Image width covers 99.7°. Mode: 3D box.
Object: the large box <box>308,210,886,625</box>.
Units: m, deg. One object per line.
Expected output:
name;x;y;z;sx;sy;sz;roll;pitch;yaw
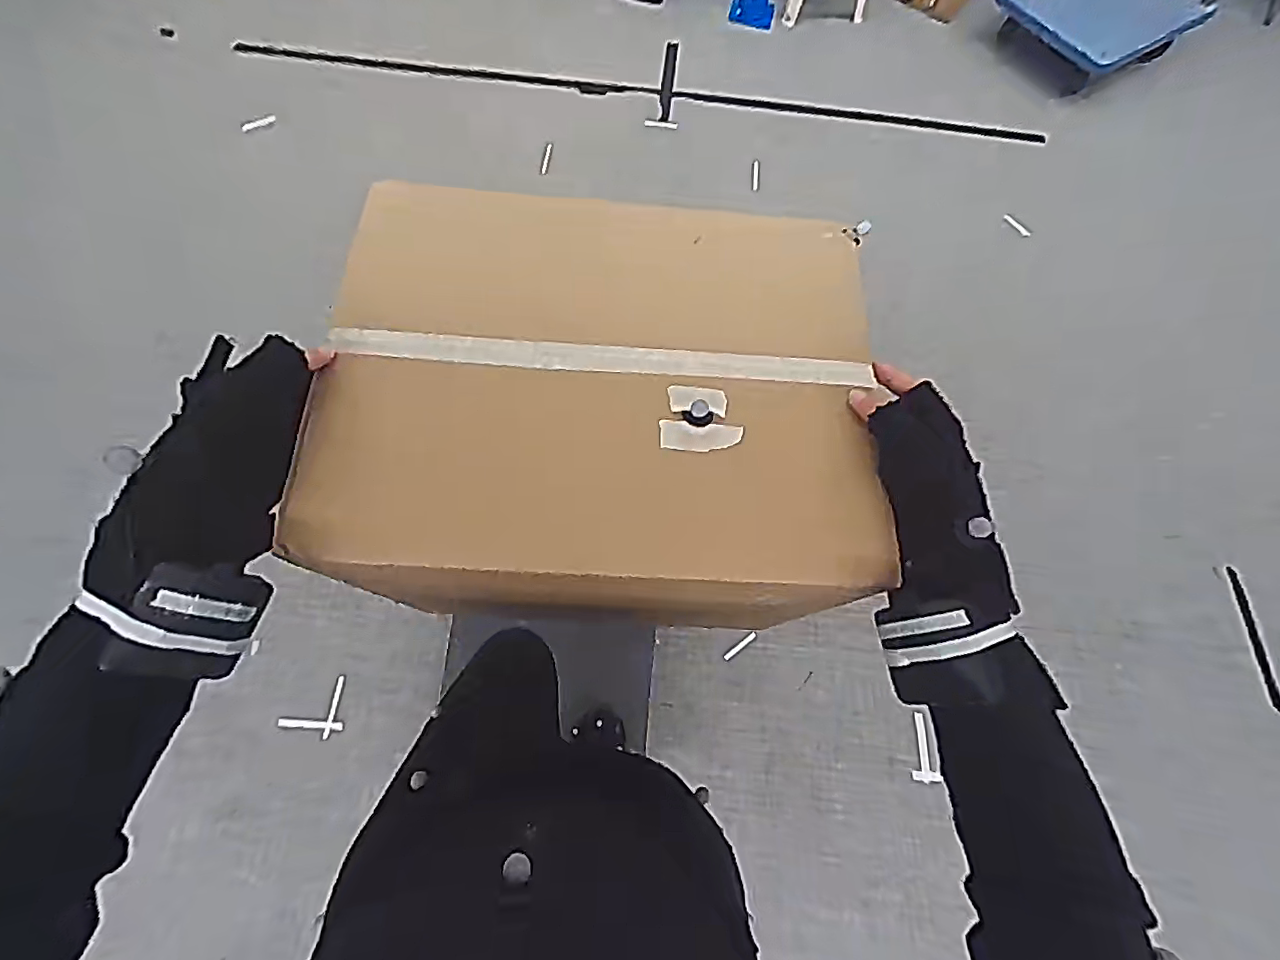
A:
large box;-0.032;-0.028;0.558;0.408;0.320;0.320;4;70;-4
